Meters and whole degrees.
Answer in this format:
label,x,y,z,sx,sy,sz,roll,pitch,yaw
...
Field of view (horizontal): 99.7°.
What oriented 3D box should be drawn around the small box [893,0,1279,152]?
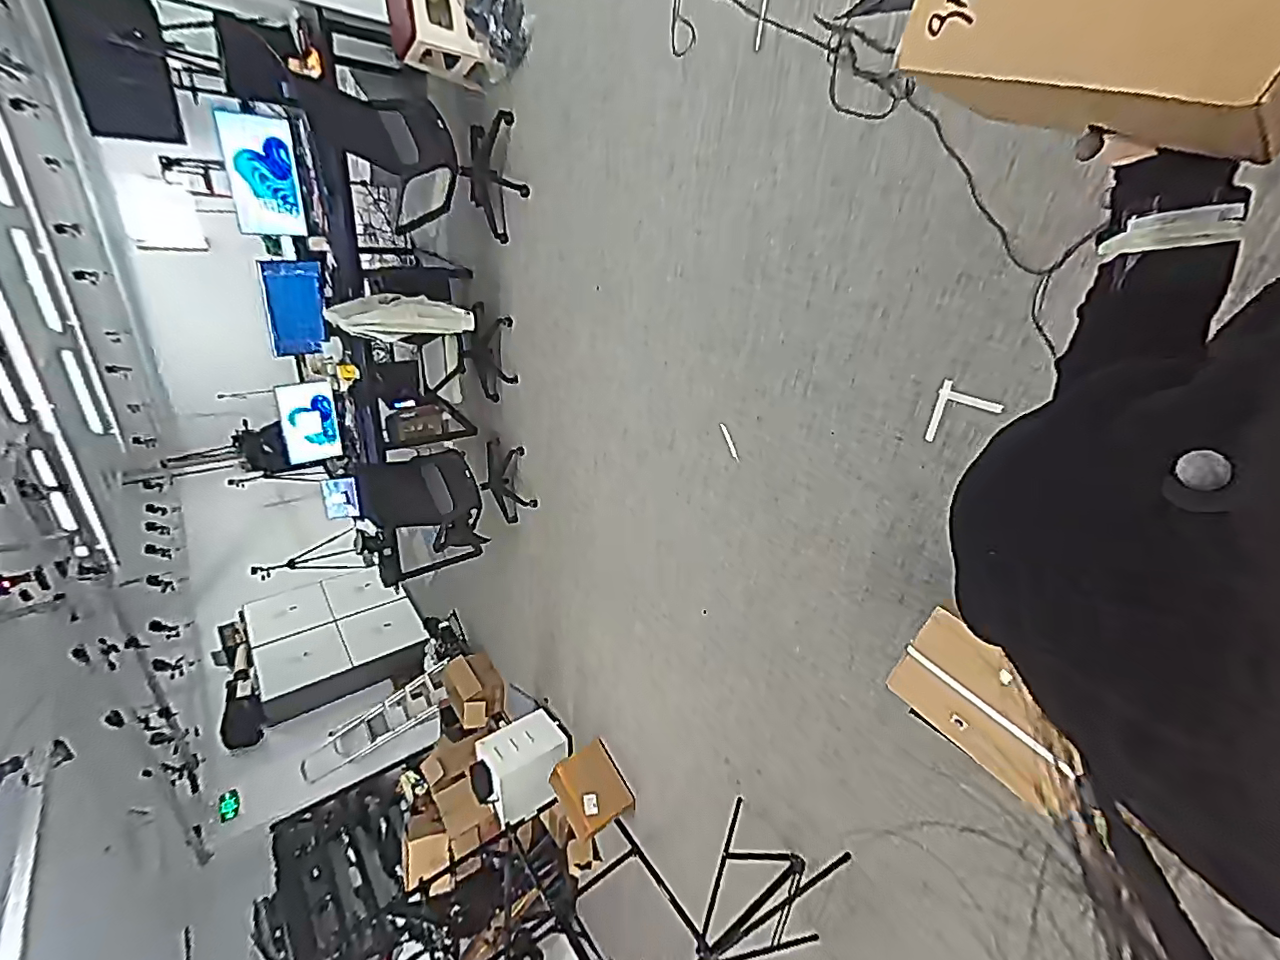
label,x,y,z,sx,sy,sz,roll,pitch,yaw
small box,0.280,-0.284,0.279,0.179,0.176,0.168,40,131,34
